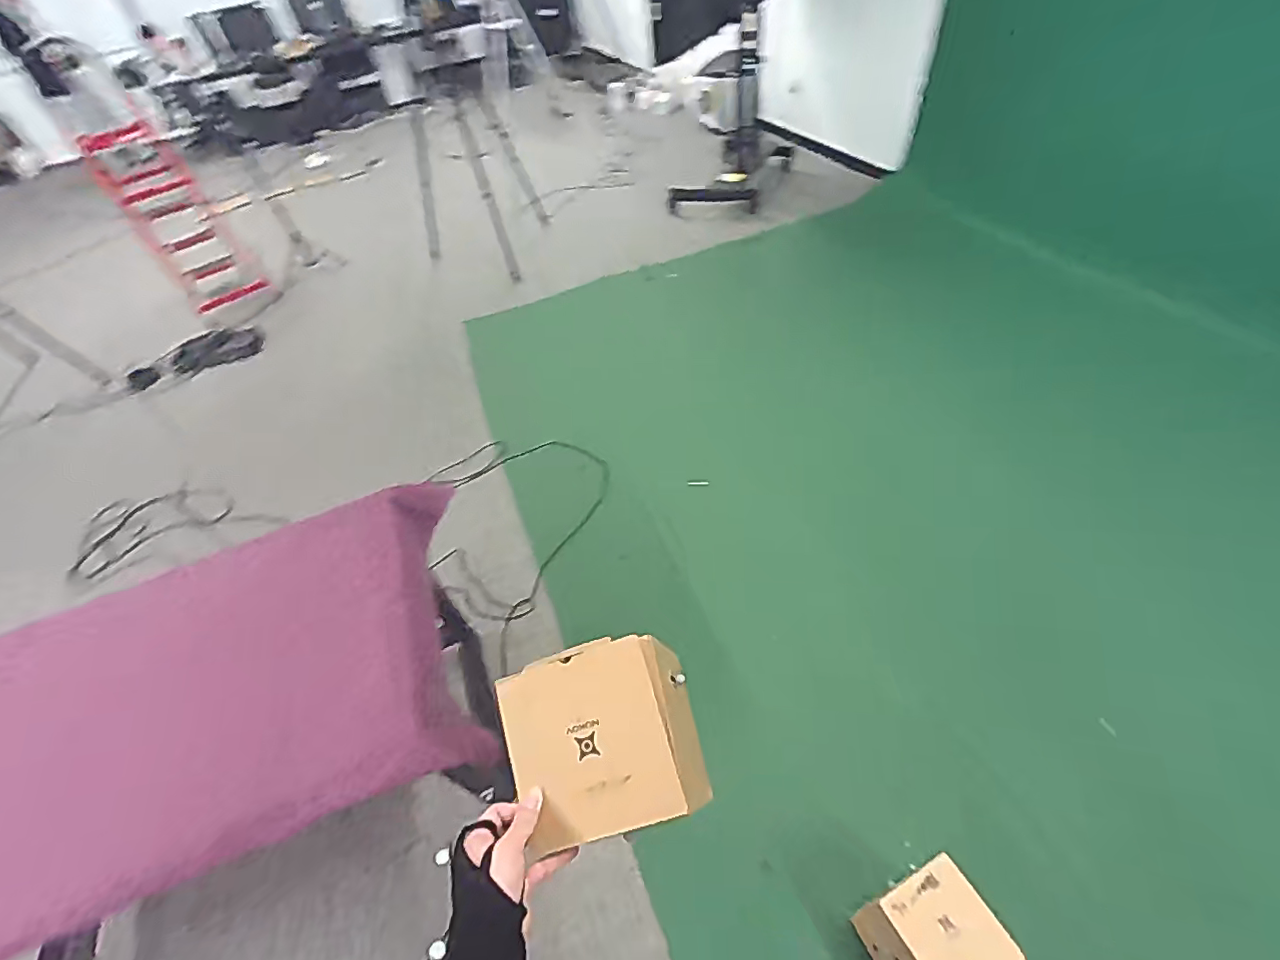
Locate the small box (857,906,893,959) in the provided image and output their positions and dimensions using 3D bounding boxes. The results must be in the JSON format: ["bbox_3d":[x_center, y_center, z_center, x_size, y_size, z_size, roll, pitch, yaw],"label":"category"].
[{"bbox_3d":[0.575,0.956,1.126,0.179,0.176,0.168,-22,48,-10],"label":"small box"}]

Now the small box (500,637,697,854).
[{"bbox_3d":[-0.043,0.302,0.628,0.168,0.176,0.179,-19,62,8],"label":"small box"}]

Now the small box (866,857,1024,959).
[{"bbox_3d":[0.554,0.845,1.006,0.168,0.176,0.179,-24,49,-12],"label":"small box"}]
